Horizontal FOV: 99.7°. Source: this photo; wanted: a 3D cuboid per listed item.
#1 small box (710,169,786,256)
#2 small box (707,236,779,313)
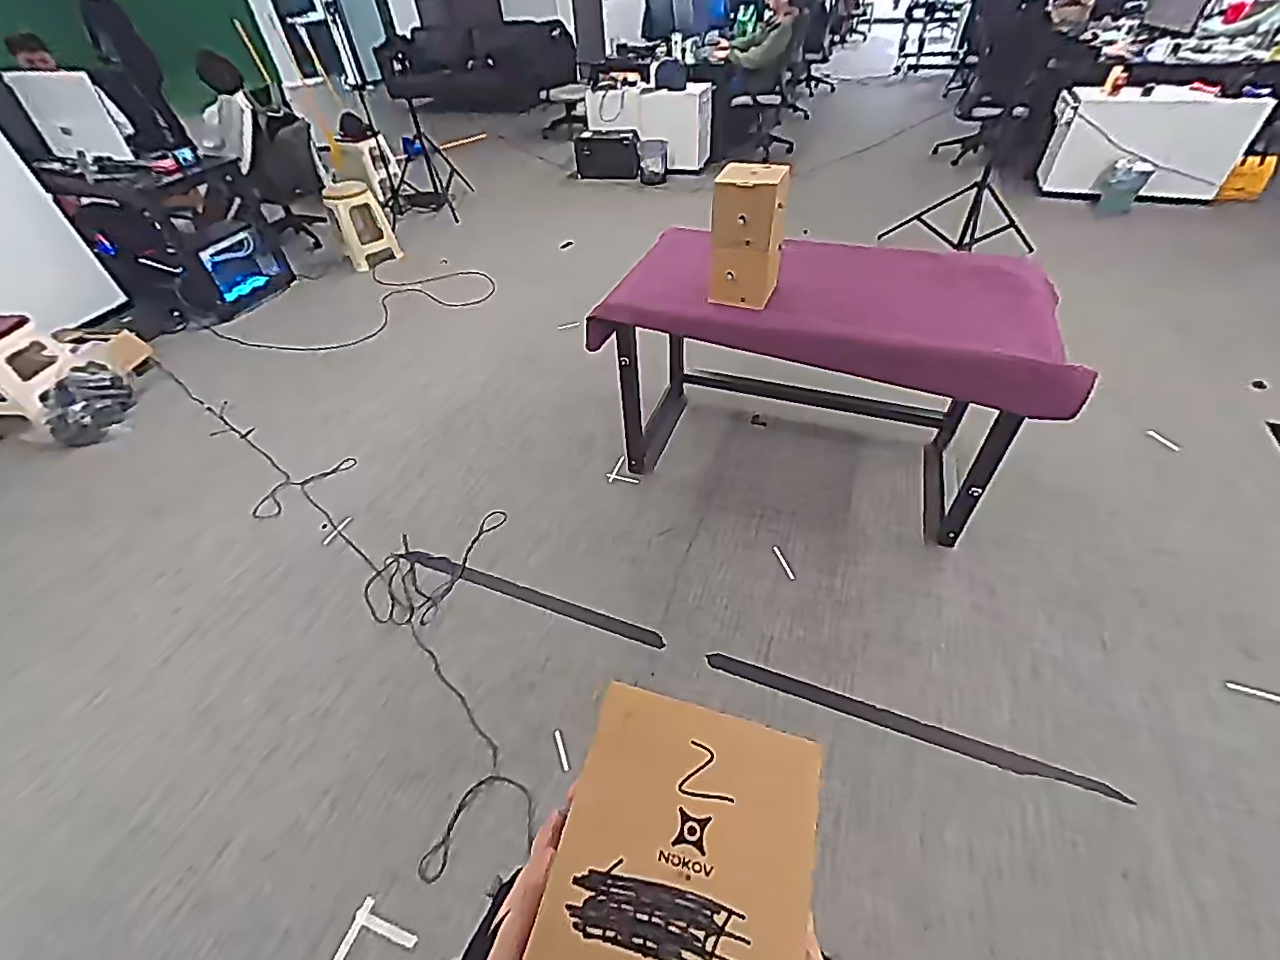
[{"bbox_3d":[0.292,-0.730,1.477,0.168,0.176,0.179,14,47,16],"label":"small box"},{"bbox_3d":[0.300,-0.609,1.588,0.168,0.176,0.179,14,47,18],"label":"small box"}]
